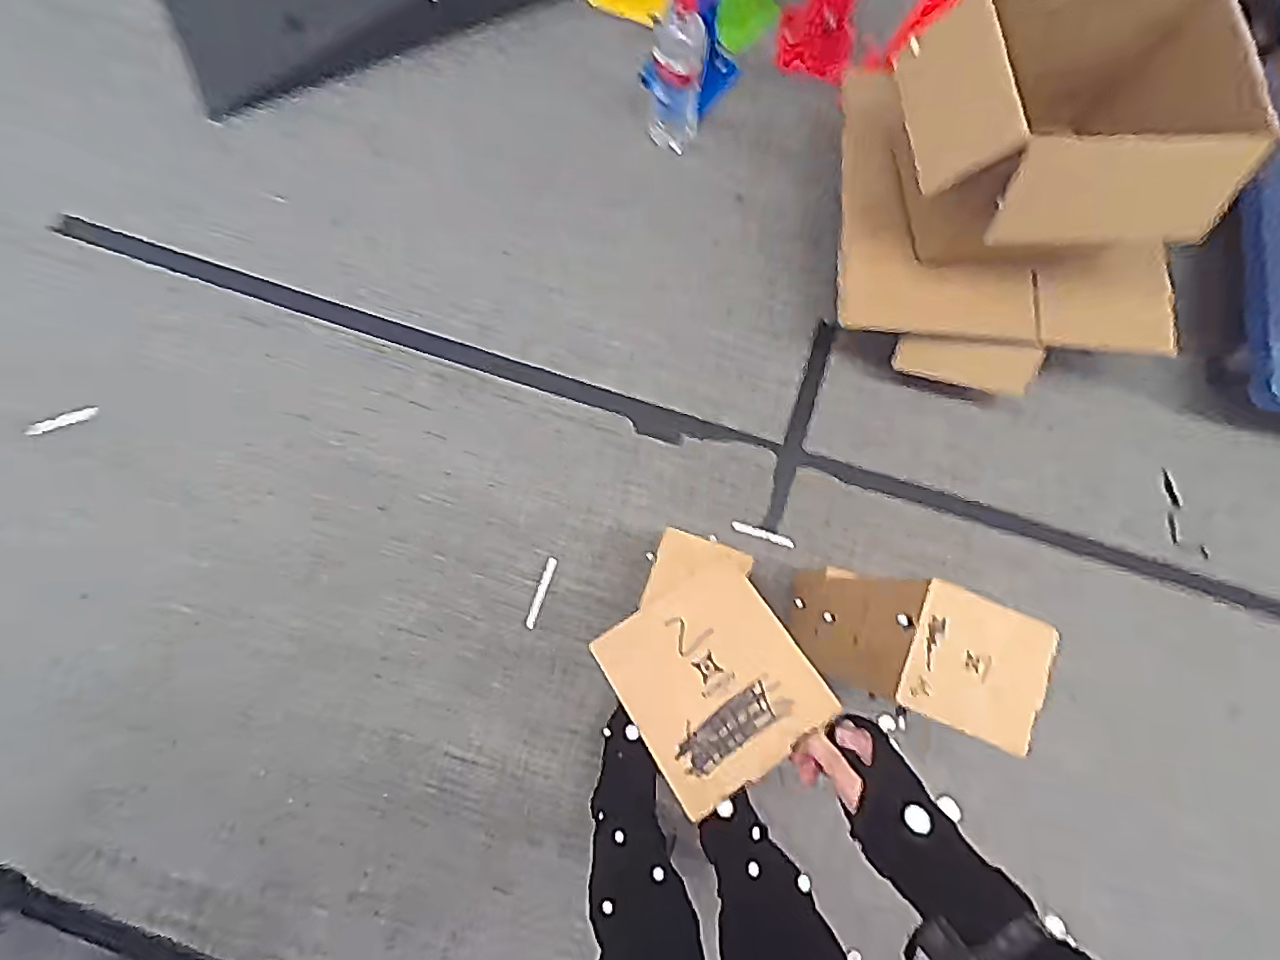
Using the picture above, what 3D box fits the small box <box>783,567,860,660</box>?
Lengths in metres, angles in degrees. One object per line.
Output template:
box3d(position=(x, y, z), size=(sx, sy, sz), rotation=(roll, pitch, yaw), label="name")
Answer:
box3d(position=(0.399, 0.283, 1.075), size=(0.168, 0.176, 0.179), rotation=(19, 79, 0), label="small box")

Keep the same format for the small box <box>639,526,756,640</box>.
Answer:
box3d(position=(0.105, 0.205, 1.074), size=(0.179, 0.176, 0.168), rotation=(20, 79, 0), label="small box")

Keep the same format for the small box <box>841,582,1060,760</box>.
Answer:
box3d(position=(0.415, 0.247, 0.748), size=(0.179, 0.176, 0.168), rotation=(24, 80, 0), label="small box")

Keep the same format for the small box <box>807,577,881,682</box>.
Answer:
box3d(position=(0.407, 0.272, 0.910), size=(0.179, 0.176, 0.168), rotation=(21, 80, 0), label="small box")
